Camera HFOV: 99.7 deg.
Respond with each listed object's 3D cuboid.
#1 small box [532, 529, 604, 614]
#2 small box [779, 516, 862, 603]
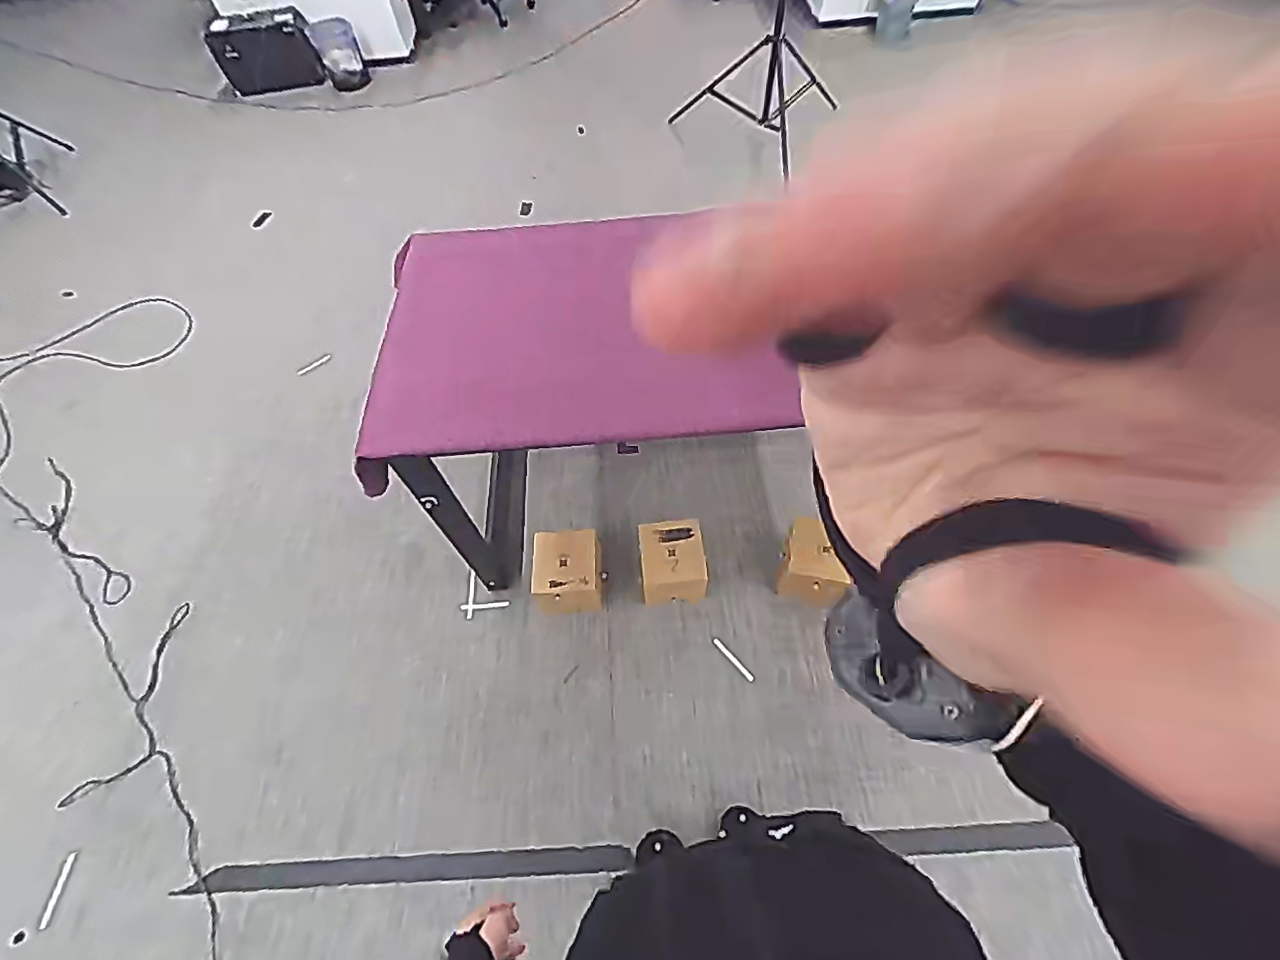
[{"bbox_3d":[-0.190,0.252,1.477,0.168,0.176,0.179,-3,56,1],"label":"small box"},{"bbox_3d":[0.483,0.220,1.458,0.179,0.176,0.168,9,60,11],"label":"small box"}]
